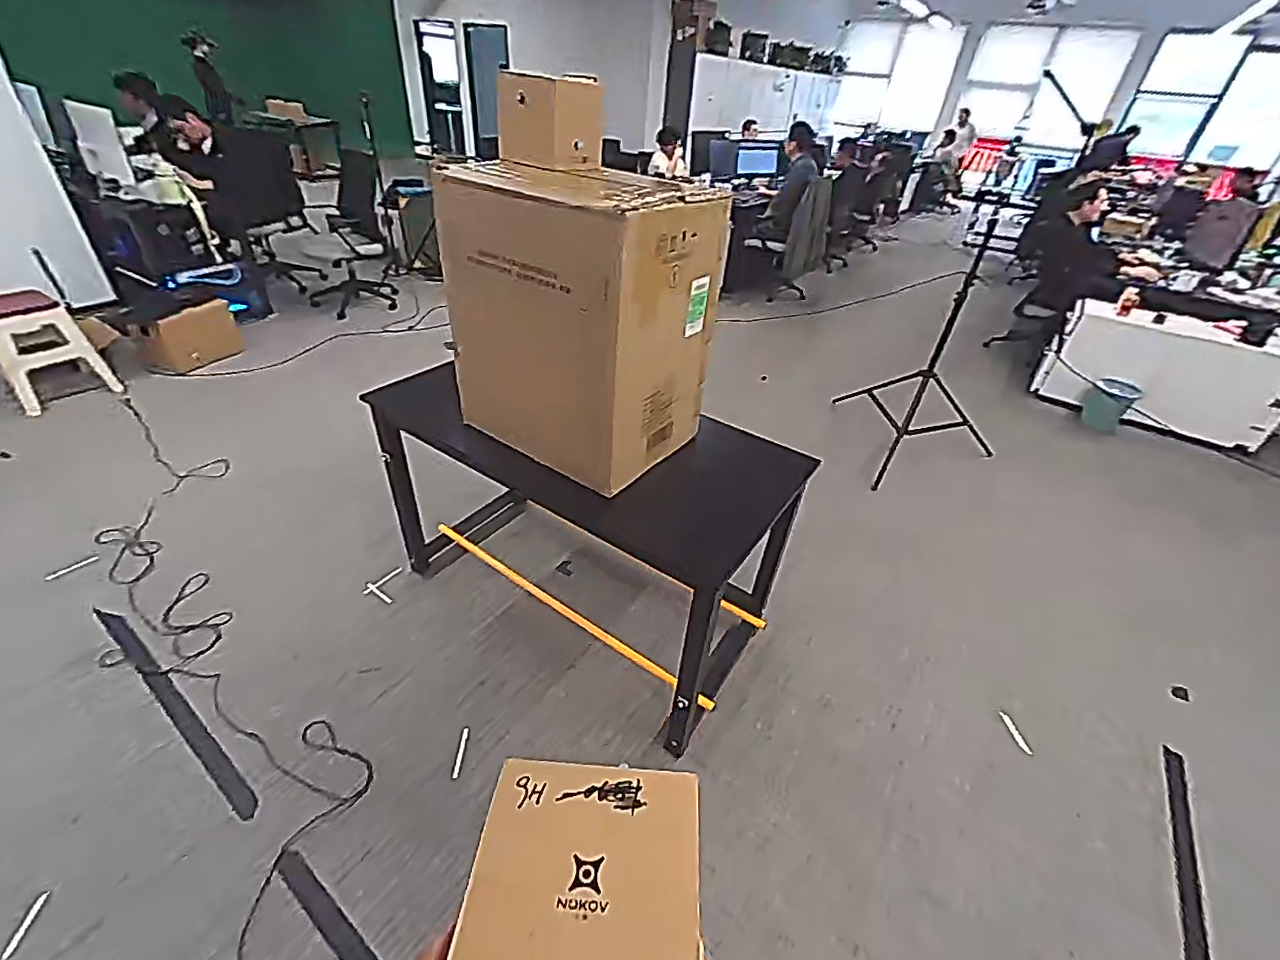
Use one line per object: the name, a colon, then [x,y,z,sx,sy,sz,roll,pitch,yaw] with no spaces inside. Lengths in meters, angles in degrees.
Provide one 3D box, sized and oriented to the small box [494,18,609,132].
small box: [-0.189,-0.852,1.145,0.179,0.176,0.168,28,40,25]
